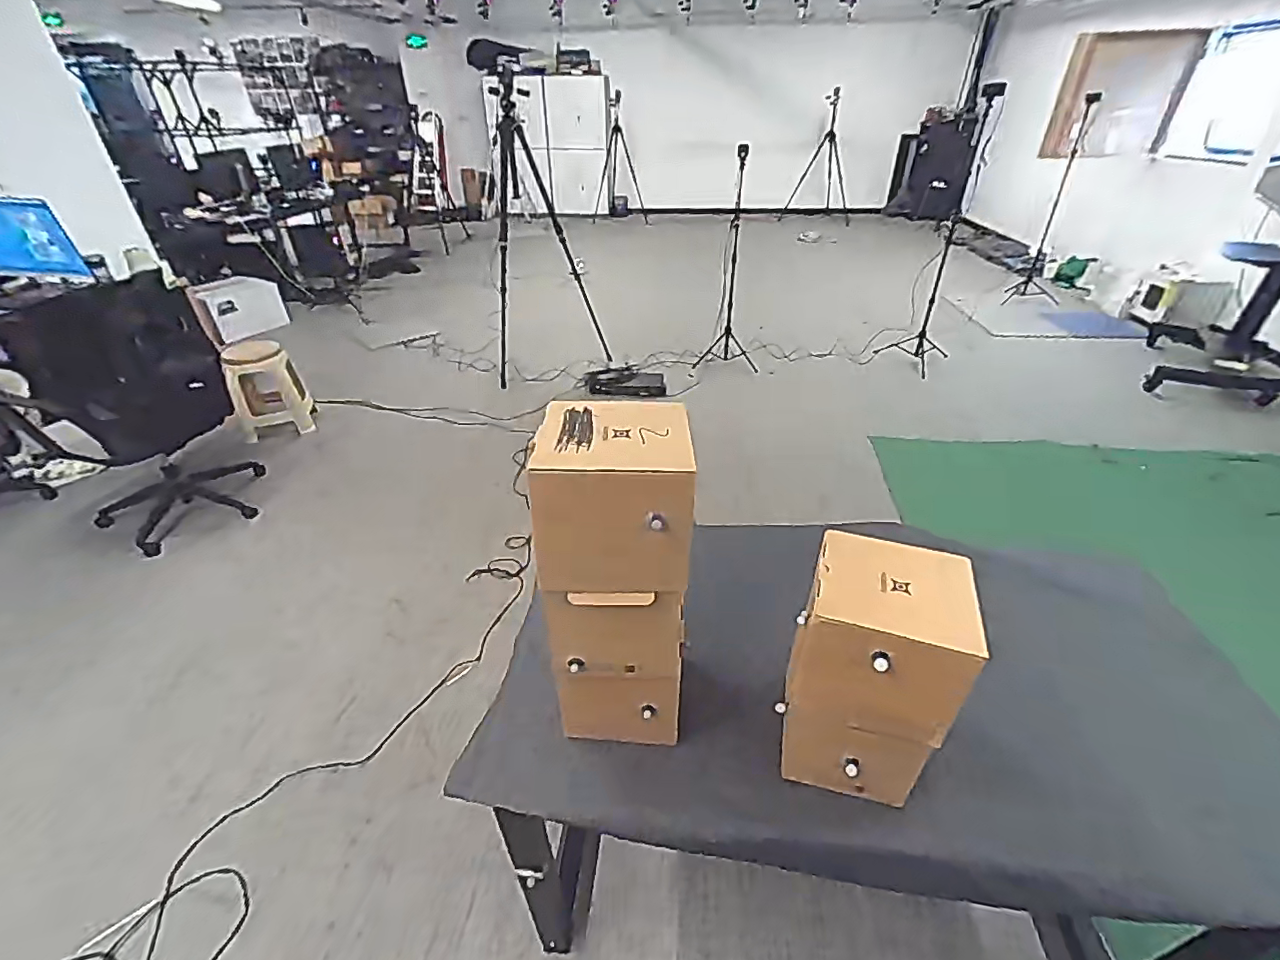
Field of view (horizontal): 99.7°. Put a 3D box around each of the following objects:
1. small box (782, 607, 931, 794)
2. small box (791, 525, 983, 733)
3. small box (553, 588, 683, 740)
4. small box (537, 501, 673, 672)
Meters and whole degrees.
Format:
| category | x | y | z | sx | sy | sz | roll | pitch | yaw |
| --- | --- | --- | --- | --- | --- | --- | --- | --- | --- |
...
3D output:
| category | x | y | z | sx | sy | sz | roll | pitch | yaw |
| --- | --- | --- | --- | --- | --- | --- | --- | --- | --- |
| small box | 0.300 | 0.316 | 0.780 | 0.168 | 0.176 | 0.179 | 7 | 36 | 13 |
| small box | 0.299 | 0.186 | 0.680 | 0.179 | 0.176 | 0.168 | 10 | 36 | 18 |
| small box | -0.025 | 0.282 | 0.843 | 0.179 | 0.176 | 0.168 | 1 | 33 | 5 |
| small box | -0.038 | 0.146 | 0.750 | 0.168 | 0.176 | 0.179 | 0 | 33 | 1 |
